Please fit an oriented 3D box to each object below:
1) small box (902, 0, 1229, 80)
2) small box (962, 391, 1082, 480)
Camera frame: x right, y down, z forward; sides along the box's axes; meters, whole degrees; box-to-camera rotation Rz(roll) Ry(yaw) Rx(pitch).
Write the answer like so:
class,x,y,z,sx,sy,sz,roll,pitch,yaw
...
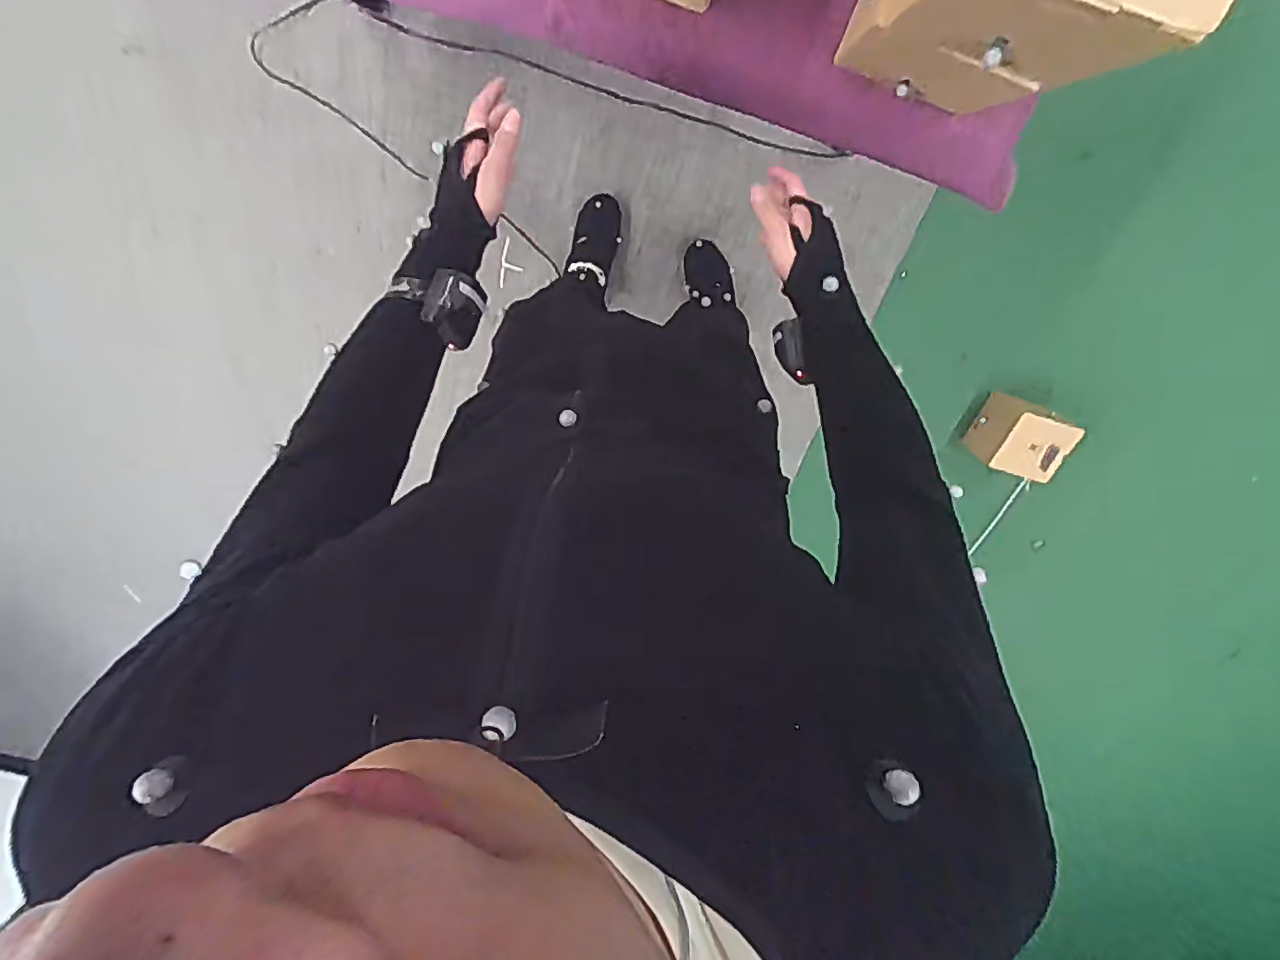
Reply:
class,x,y,z,sx,sy,sz,roll,pitch,yaw
small box,0.314,-0.413,0.370,0.168,0.176,0.179,17,119,-3
small box,1.040,-0.128,1.490,0.179,0.176,0.168,16,119,-3
